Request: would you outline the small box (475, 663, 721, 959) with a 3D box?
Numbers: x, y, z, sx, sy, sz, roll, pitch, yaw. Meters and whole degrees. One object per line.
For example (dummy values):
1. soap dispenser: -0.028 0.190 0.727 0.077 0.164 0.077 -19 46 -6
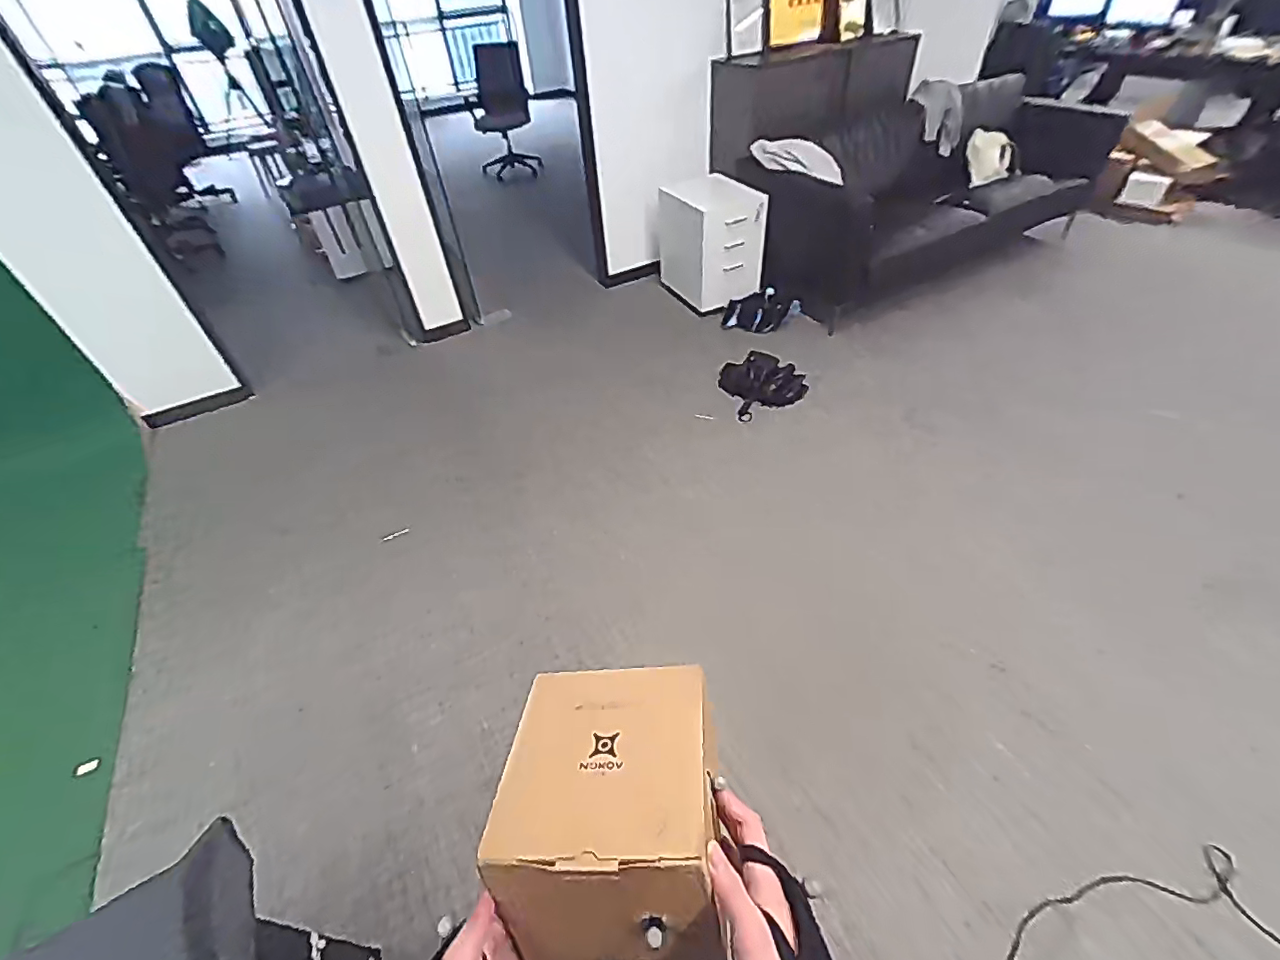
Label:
1. small box: -0.019 0.291 0.481 0.168 0.176 0.179 -5 26 8
